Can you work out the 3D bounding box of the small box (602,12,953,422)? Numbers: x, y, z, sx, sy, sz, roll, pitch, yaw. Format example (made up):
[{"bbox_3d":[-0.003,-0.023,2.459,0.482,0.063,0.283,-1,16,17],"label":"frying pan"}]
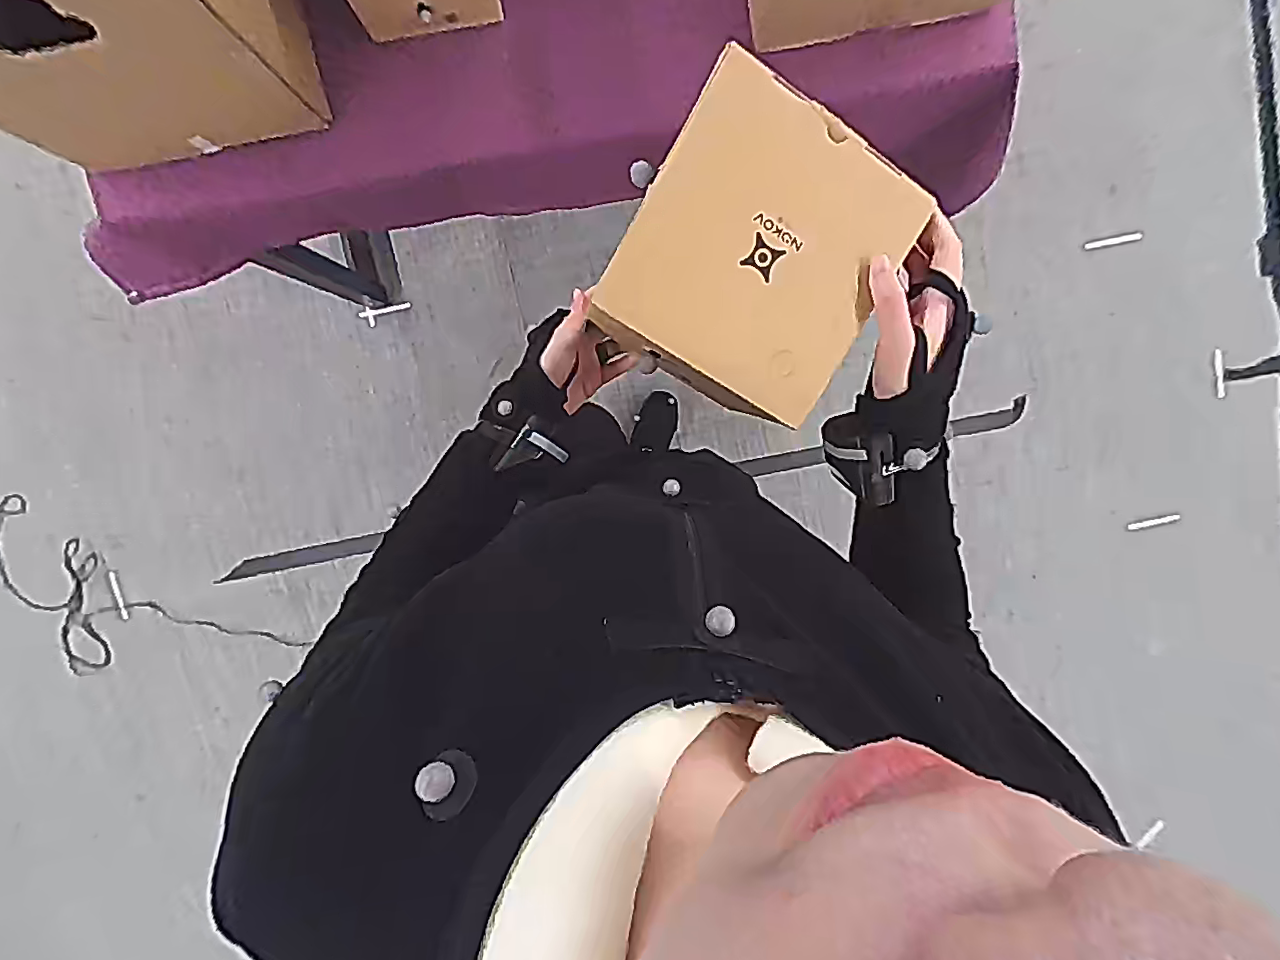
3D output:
[{"bbox_3d":[0.087,-0.167,0.382,0.179,0.176,0.168,24,78,6],"label":"small box"}]
